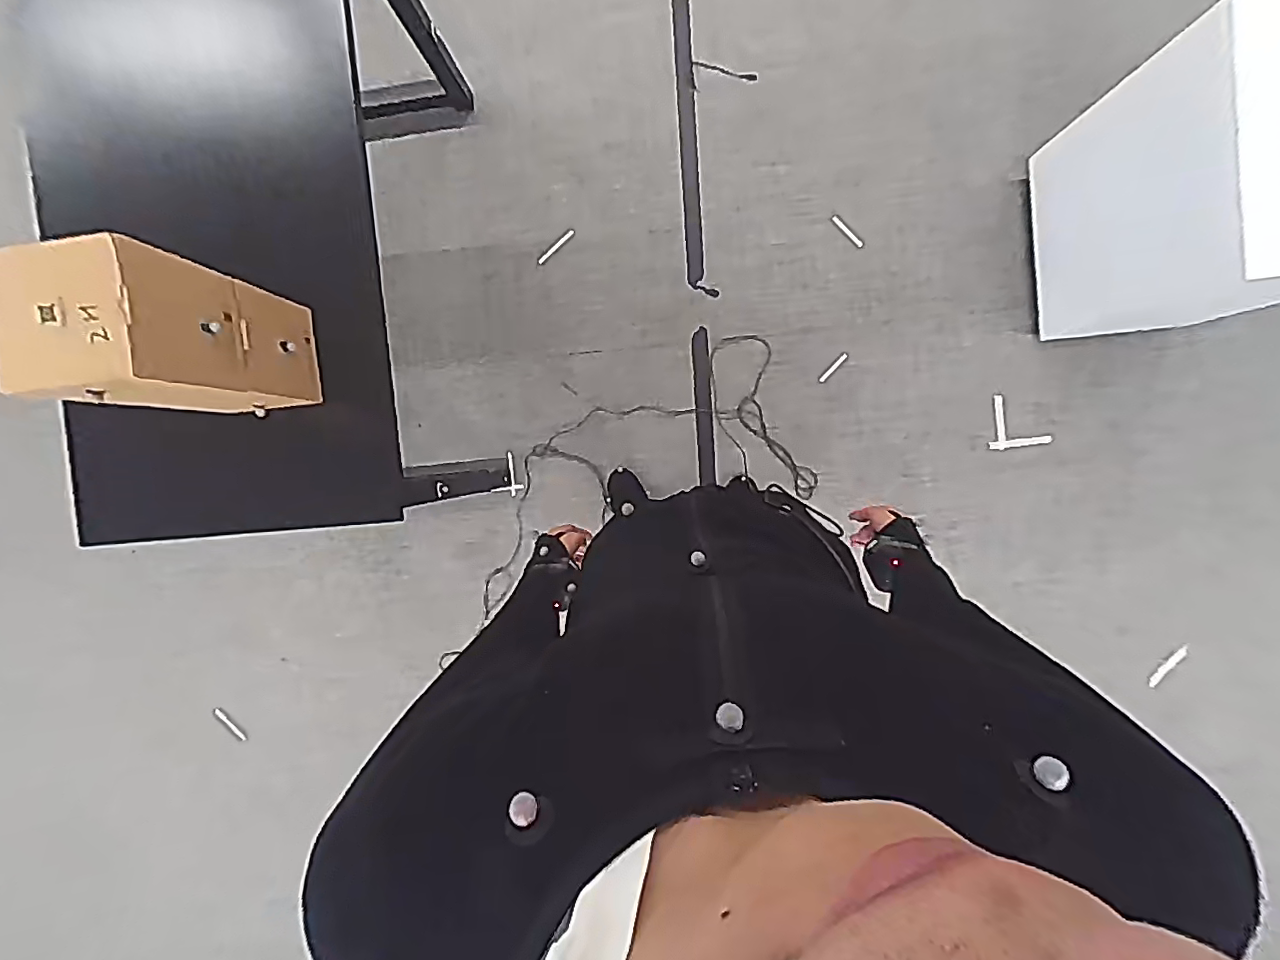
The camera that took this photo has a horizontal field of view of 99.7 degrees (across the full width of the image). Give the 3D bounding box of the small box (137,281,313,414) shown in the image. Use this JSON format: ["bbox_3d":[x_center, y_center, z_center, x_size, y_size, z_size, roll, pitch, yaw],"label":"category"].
[{"bbox_3d":[-0.650,-0.200,0.856,0.179,0.176,0.168,-6,92,3],"label":"small box"}]

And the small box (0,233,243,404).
[{"bbox_3d":[-0.661,-0.192,0.692,0.179,0.176,0.168,-6,93,3],"label":"small box"}]
